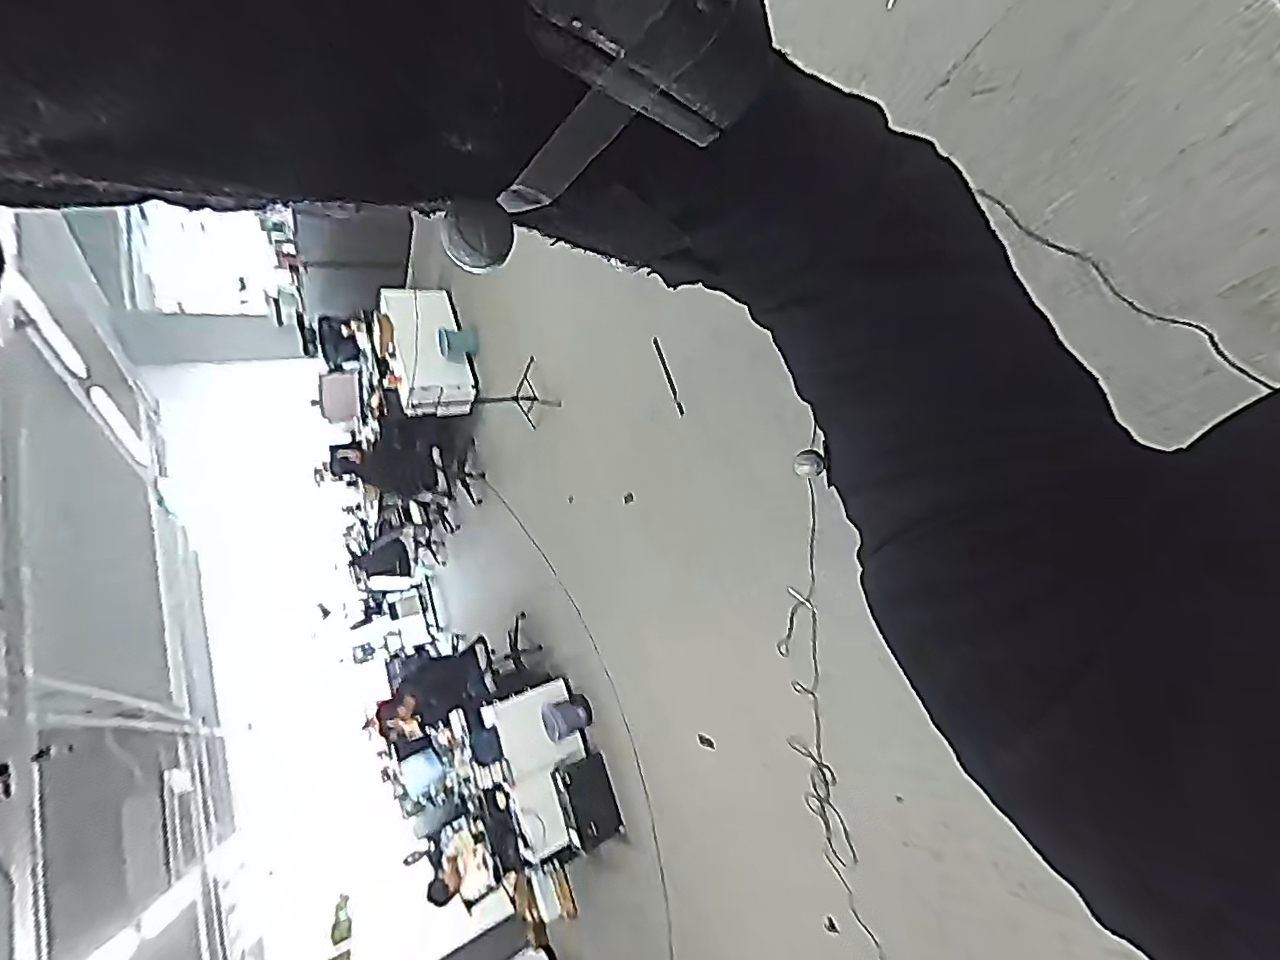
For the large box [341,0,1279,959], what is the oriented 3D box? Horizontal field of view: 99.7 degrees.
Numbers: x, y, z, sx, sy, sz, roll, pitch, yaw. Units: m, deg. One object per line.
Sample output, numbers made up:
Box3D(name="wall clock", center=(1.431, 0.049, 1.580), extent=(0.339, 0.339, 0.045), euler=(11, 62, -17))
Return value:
Box3D(name="large box", center=(0.148, -0.014, 0.146), extent=(0.408, 0.320, 0.320), euler=(21, -89, 54))
